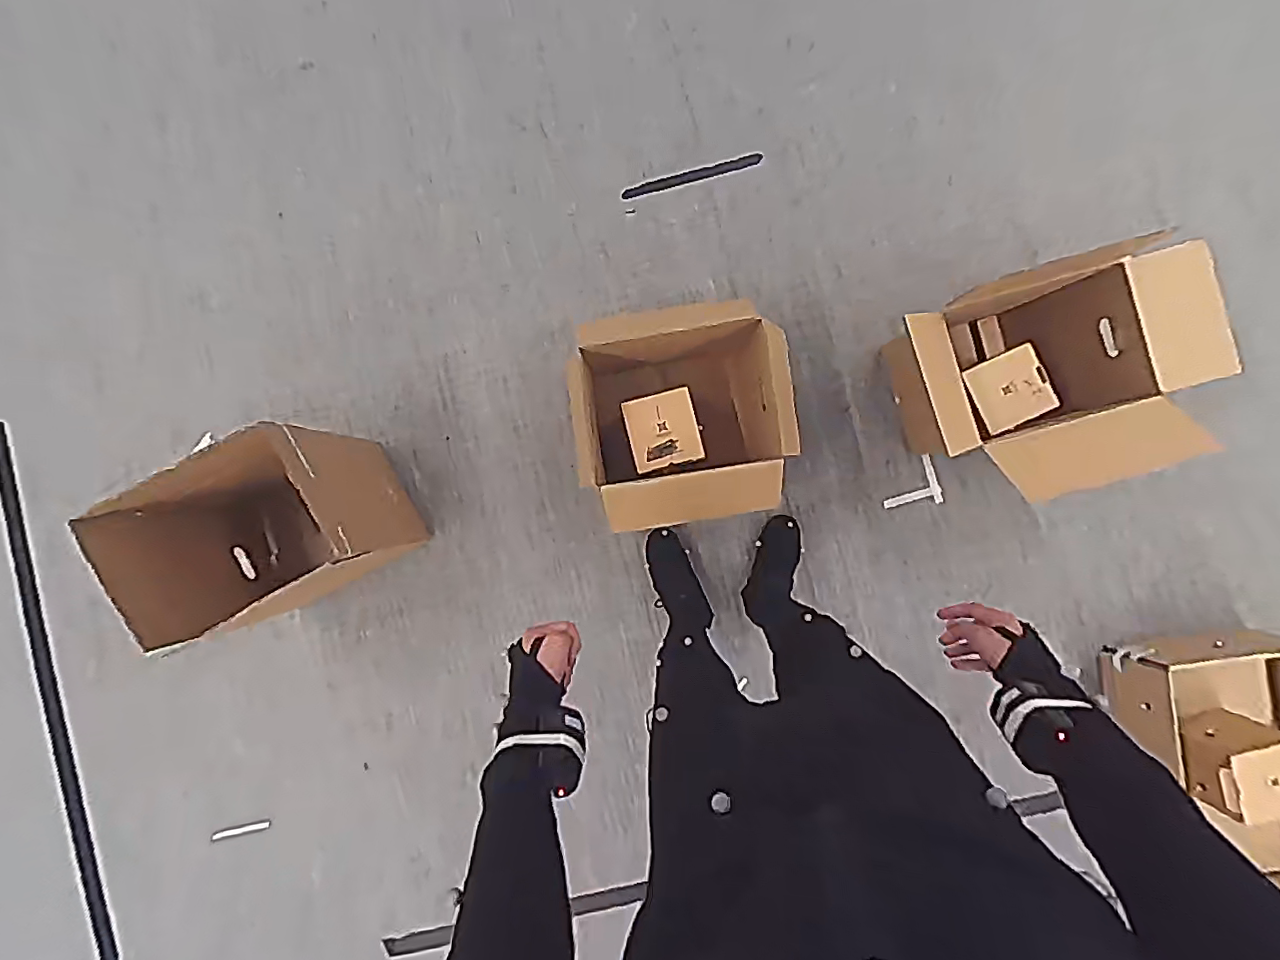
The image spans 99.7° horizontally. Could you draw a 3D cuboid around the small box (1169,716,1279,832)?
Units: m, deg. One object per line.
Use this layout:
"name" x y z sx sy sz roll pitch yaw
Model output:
"small box" 1.413 0.686 1.278 0.179 0.176 0.168 -13 90 0
